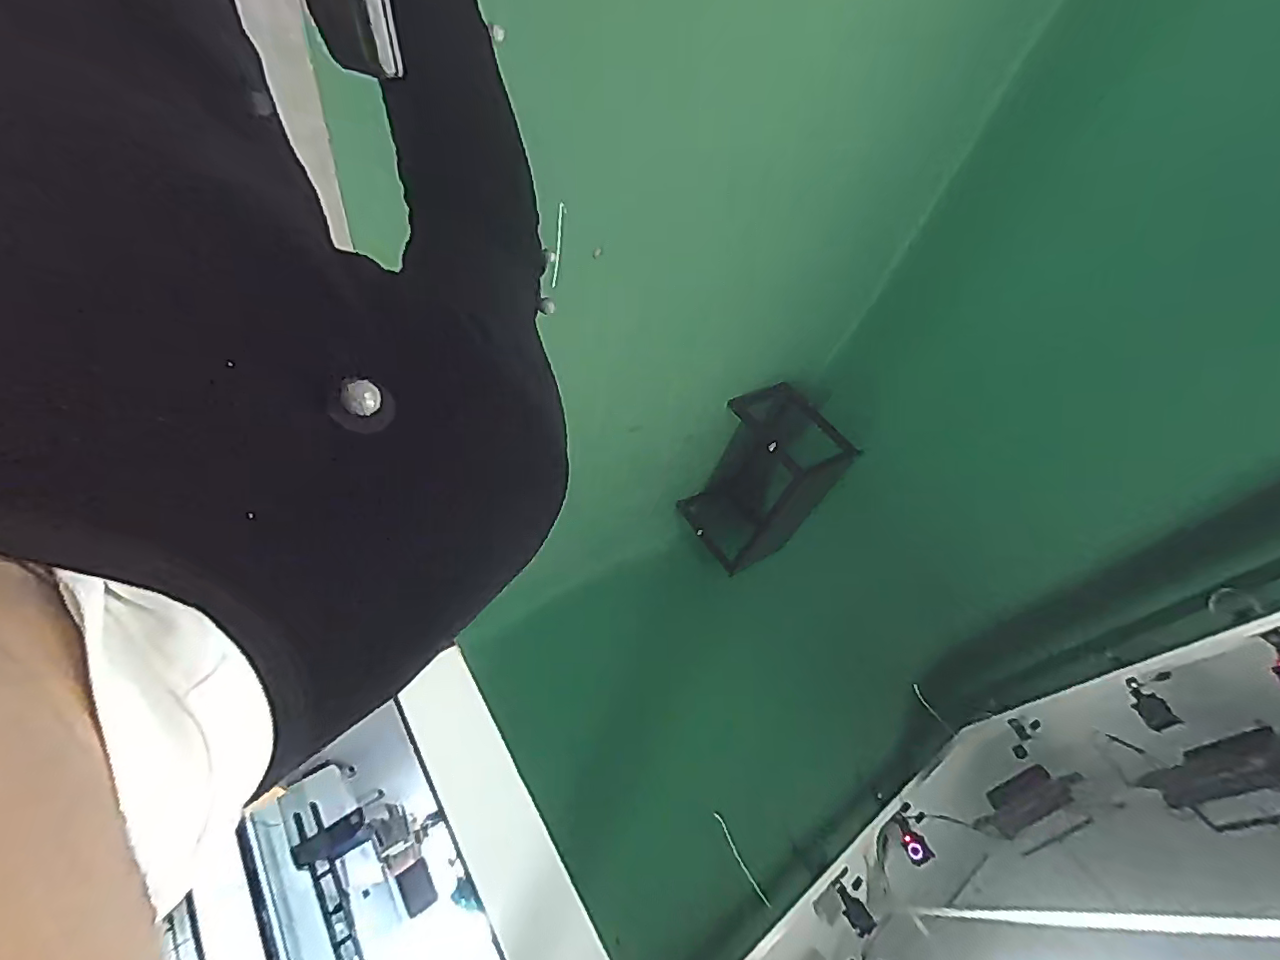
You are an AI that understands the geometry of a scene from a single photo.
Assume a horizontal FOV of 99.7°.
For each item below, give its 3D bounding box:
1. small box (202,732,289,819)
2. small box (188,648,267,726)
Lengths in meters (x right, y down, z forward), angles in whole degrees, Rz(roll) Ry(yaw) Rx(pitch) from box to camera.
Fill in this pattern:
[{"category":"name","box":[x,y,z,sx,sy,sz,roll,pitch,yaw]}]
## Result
[{"category":"small box","box":[-1.250,0.931,1.714,0.168,0.176,0.179,-23,149,-28]},{"category":"small box","box":[-1.434,0.716,1.882,0.168,0.176,0.179,-21,148,-29]}]
